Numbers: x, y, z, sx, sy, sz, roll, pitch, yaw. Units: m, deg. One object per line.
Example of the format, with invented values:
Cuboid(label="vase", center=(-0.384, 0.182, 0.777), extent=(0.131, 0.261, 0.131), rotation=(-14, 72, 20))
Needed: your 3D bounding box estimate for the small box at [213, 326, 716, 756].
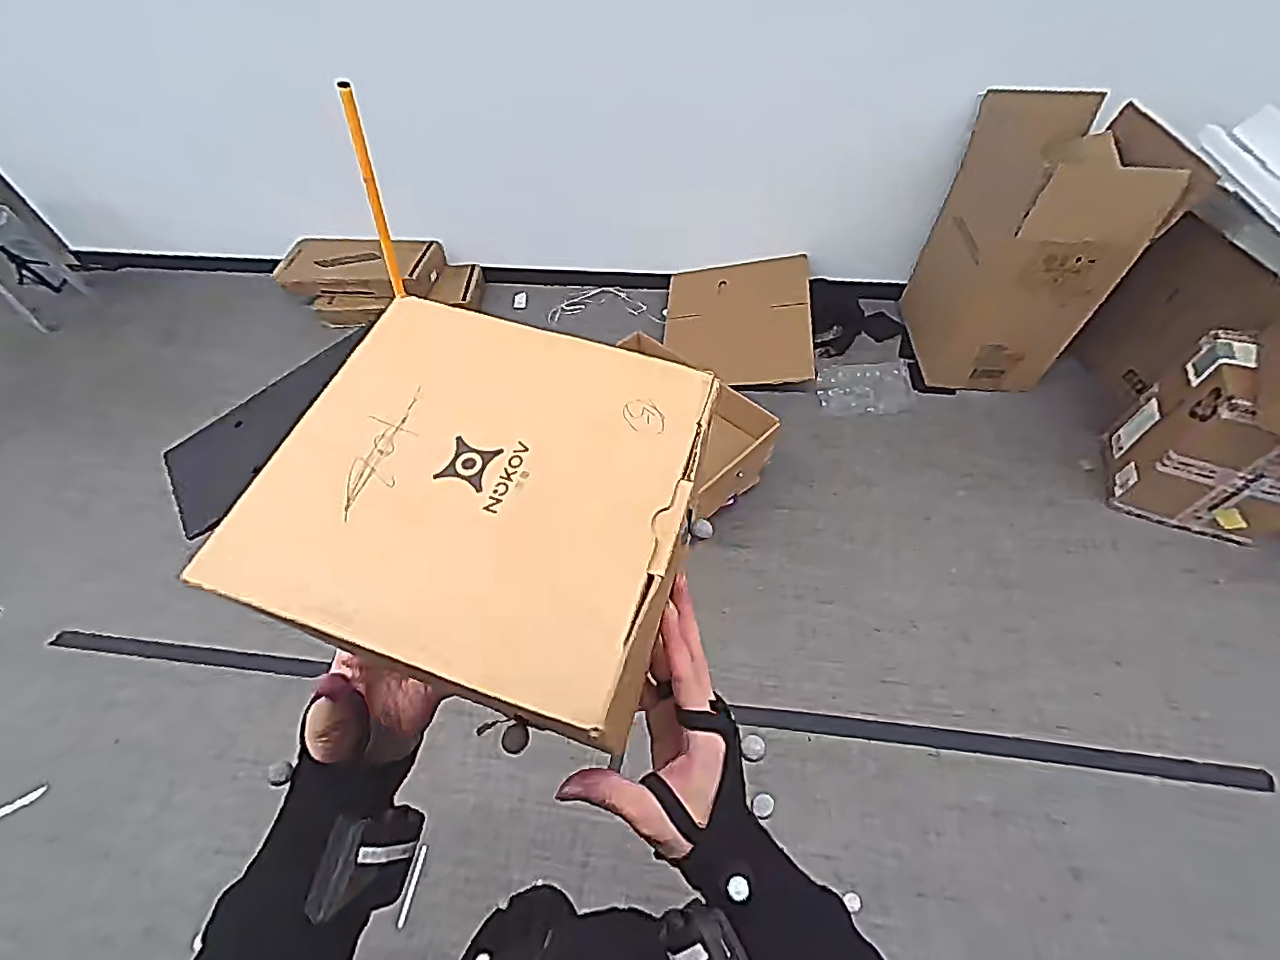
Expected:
Cuboid(label="small box", center=(-0.068, 0.045, 0.312), extent=(0.179, 0.176, 0.168), rotation=(15, 62, 9))
